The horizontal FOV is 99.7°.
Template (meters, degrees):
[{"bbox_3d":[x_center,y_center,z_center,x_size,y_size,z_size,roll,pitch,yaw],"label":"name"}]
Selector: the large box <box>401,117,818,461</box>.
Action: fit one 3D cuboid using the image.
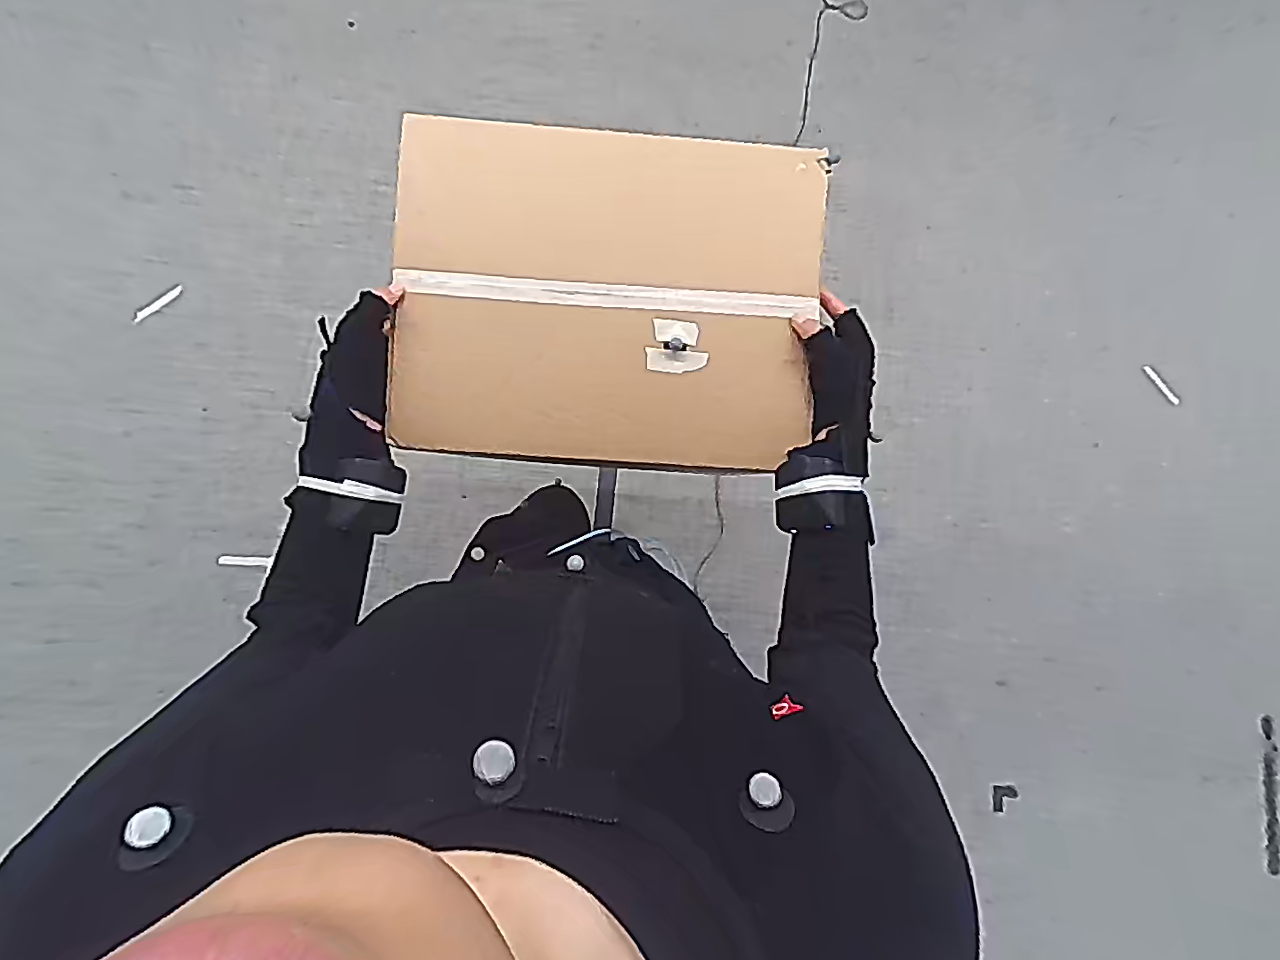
[{"bbox_3d":[-0.036,-0.190,0.678,0.408,0.320,0.320,4,91,-3],"label":"large box"}]
